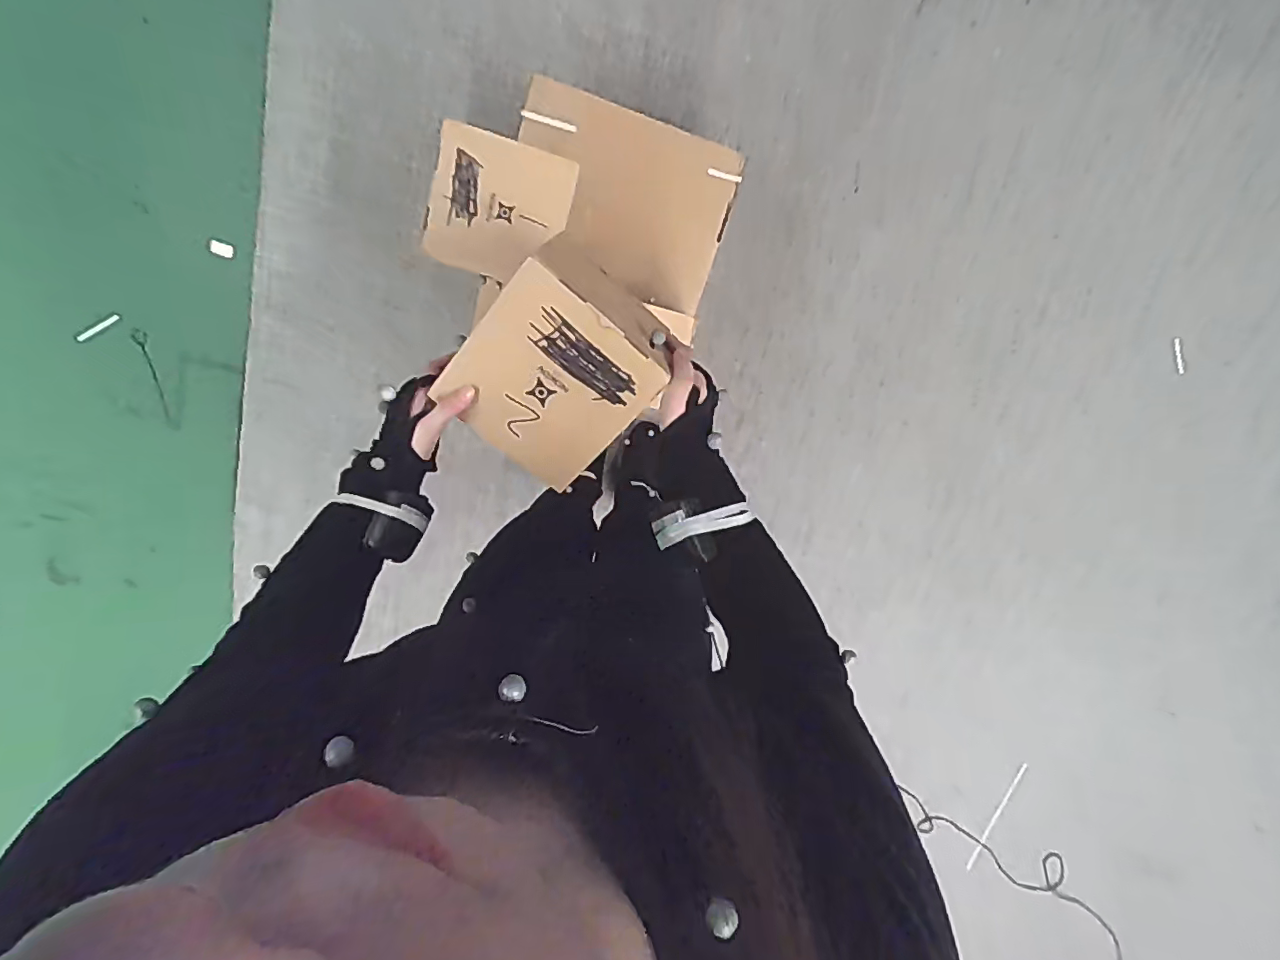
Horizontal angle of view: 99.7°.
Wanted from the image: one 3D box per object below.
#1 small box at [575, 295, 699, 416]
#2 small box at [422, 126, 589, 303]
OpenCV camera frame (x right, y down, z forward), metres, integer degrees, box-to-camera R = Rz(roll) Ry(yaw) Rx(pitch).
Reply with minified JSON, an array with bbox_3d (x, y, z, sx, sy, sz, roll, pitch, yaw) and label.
[{"bbox_3d":[-0.010,-0.228,0.982,0.179,0.176,0.168,14,104,-6],"label":"small box"},{"bbox_3d":[-0.179,-0.358,0.767,0.179,0.176,0.168,16,104,-6],"label":"small box"}]
